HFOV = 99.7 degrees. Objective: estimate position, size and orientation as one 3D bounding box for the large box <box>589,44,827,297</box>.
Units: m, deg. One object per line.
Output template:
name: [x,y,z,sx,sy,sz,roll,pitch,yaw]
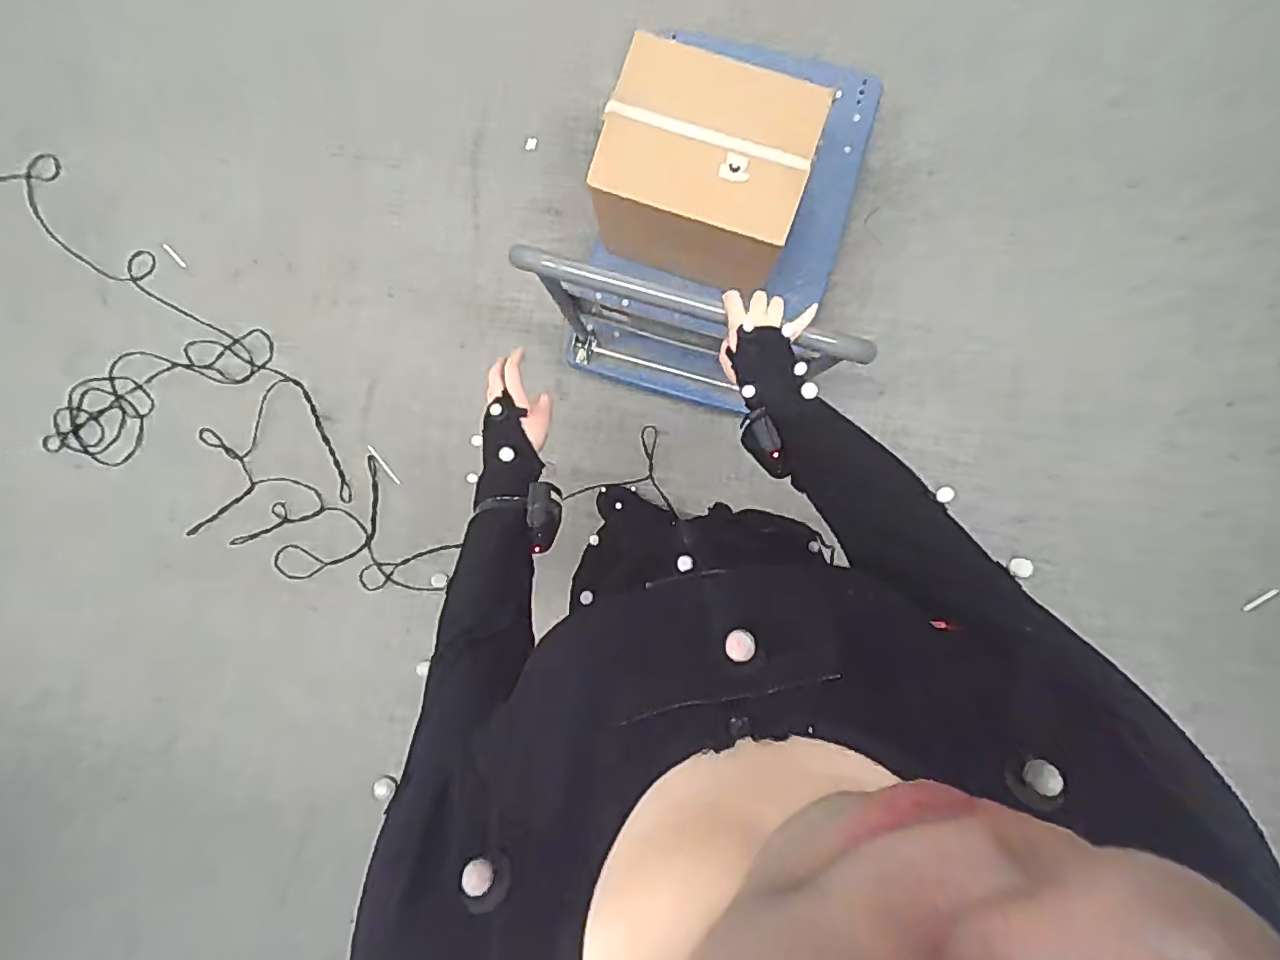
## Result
large box: [0.134,-0.656,1.204,0.408,0.320,0.320,18,91,2]
